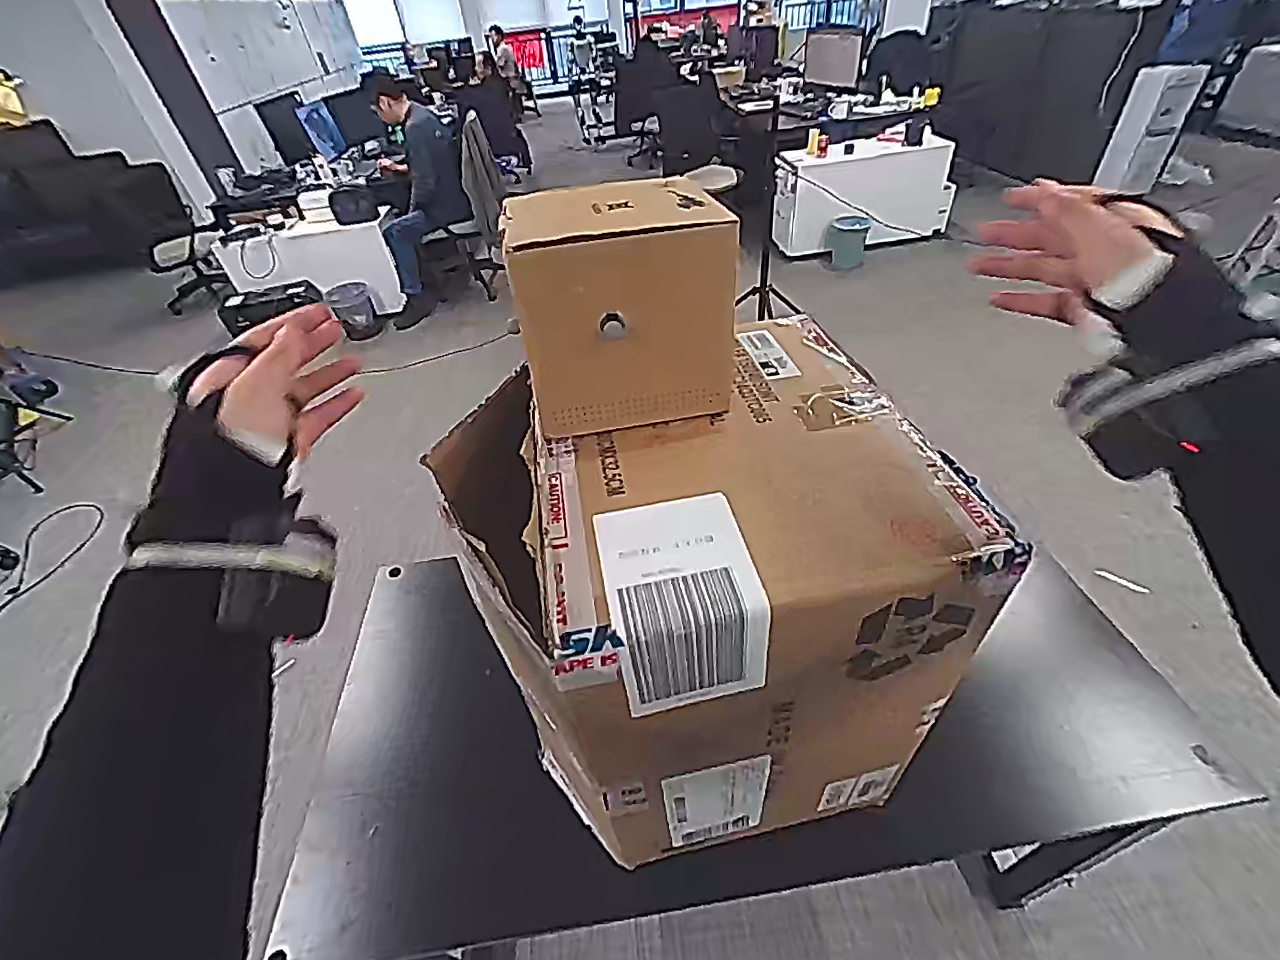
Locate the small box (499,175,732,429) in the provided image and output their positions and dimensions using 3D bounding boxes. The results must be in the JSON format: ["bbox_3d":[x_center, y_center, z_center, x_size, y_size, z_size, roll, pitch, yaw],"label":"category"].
[{"bbox_3d":[-0.021,-0.163,0.499,0.179,0.176,0.168,-11,40,-5],"label":"small box"}]
